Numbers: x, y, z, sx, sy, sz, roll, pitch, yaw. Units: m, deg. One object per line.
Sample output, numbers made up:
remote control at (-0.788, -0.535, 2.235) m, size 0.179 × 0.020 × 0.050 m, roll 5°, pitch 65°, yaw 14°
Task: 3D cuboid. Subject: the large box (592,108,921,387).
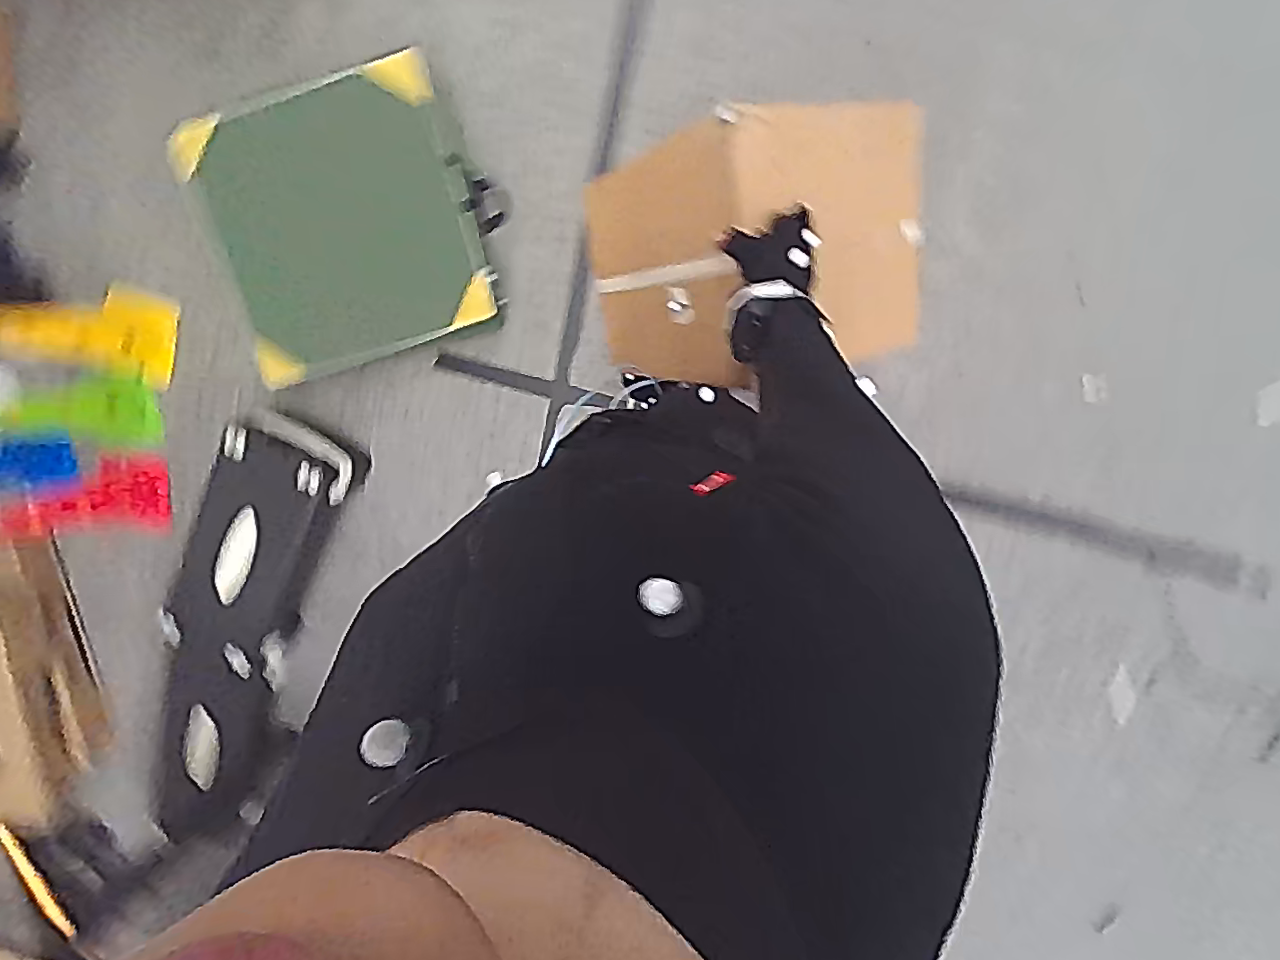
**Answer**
large box at (0.163, -0.345, 0.859) m, size 0.320 × 0.408 × 0.320 m, roll -20°, pitch 113°, yaw -24°
